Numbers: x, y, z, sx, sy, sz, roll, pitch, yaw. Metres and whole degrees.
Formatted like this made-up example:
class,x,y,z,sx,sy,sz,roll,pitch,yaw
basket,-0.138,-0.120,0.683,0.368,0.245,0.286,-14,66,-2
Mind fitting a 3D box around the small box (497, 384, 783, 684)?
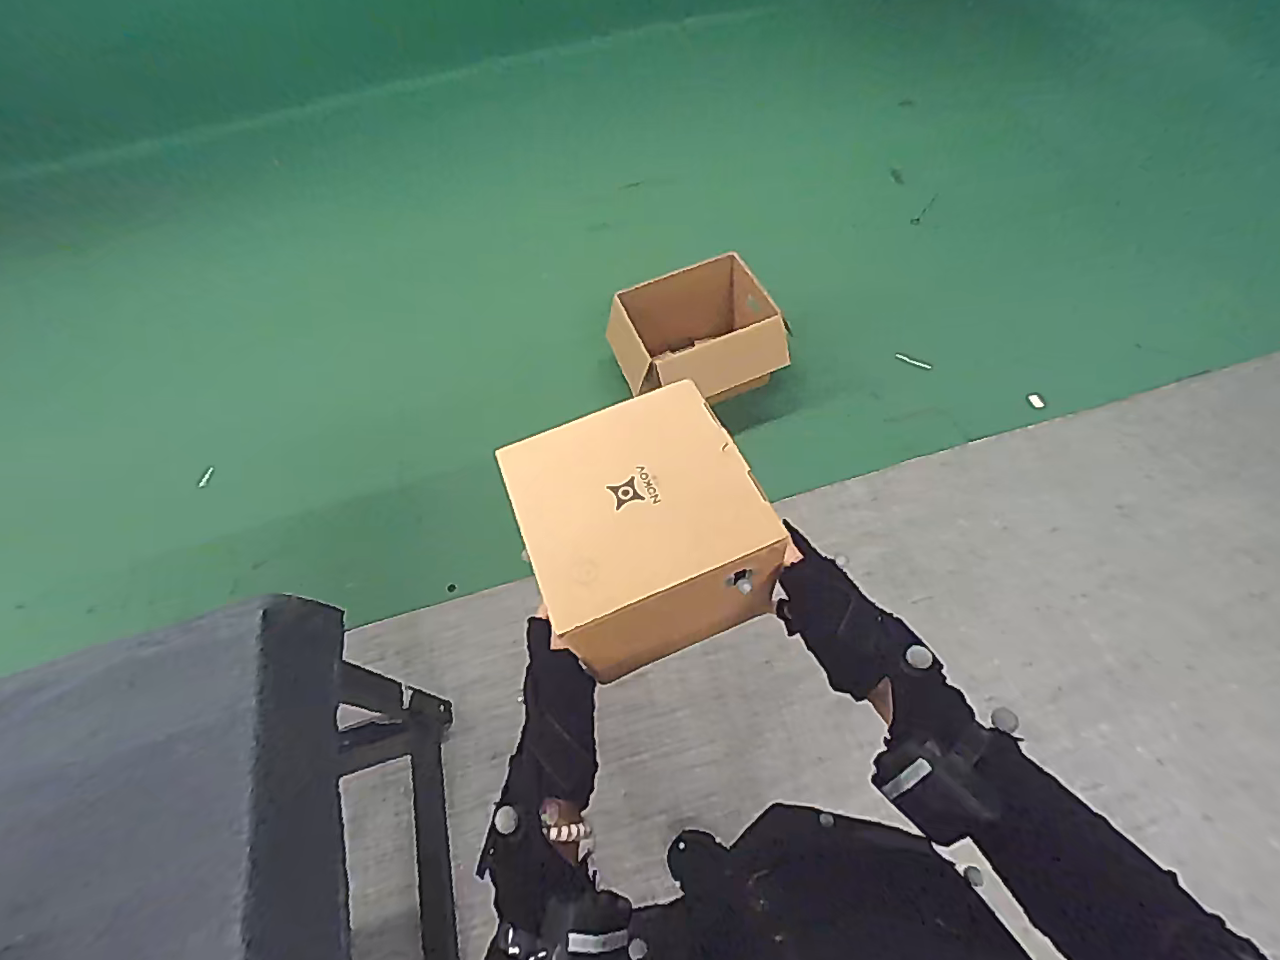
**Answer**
class,x,y,z,sx,sy,sz,roll,pitch,yaw
small box,0.001,0.054,0.470,0.179,0.176,0.168,-22,58,-7
